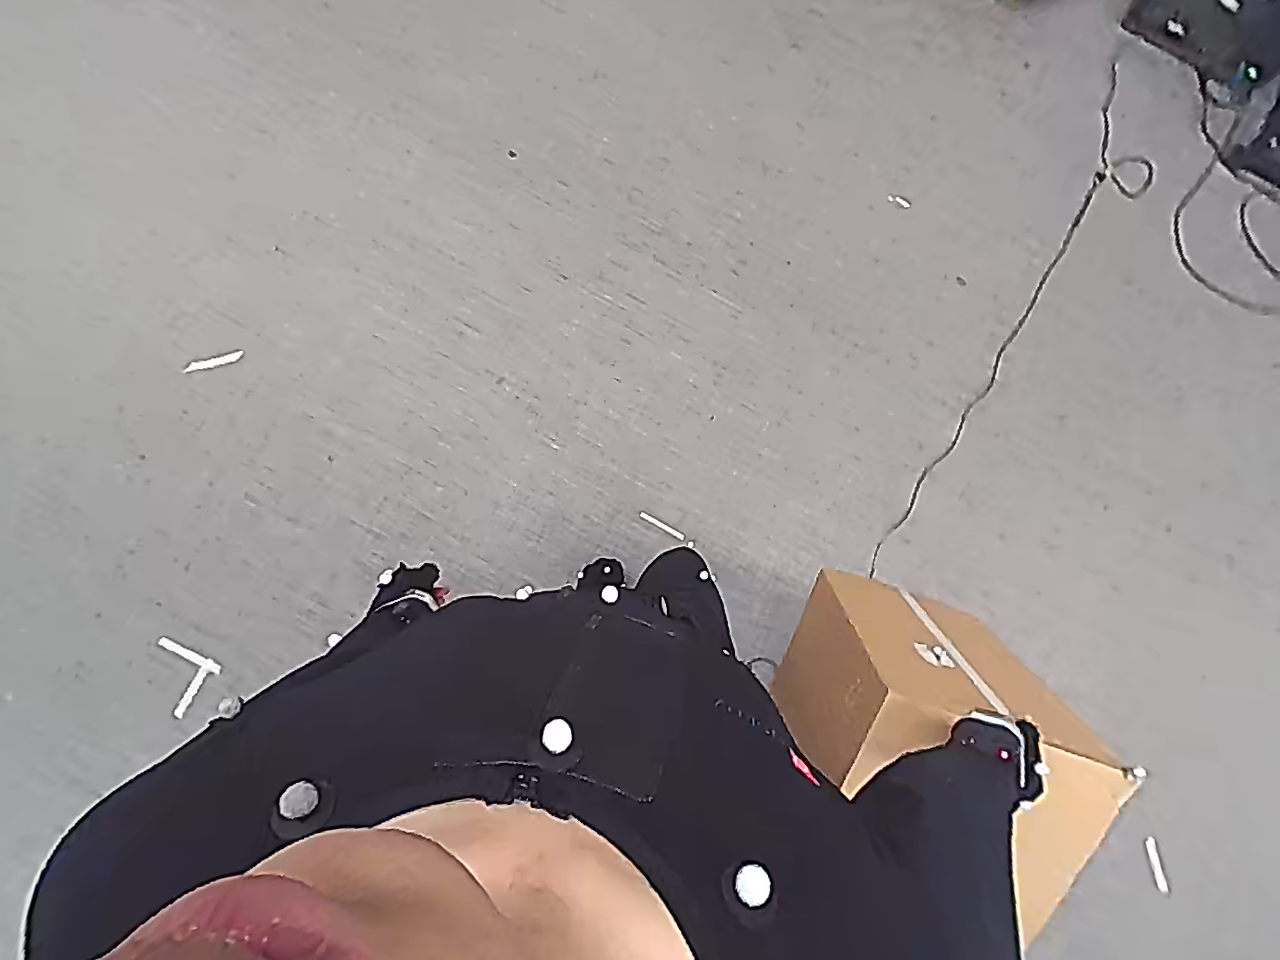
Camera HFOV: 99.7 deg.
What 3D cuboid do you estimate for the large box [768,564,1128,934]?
[{"bbox_3d":[0.432,0.397,0.896,0.320,0.408,0.320,17,106,2],"label":"large box"}]
